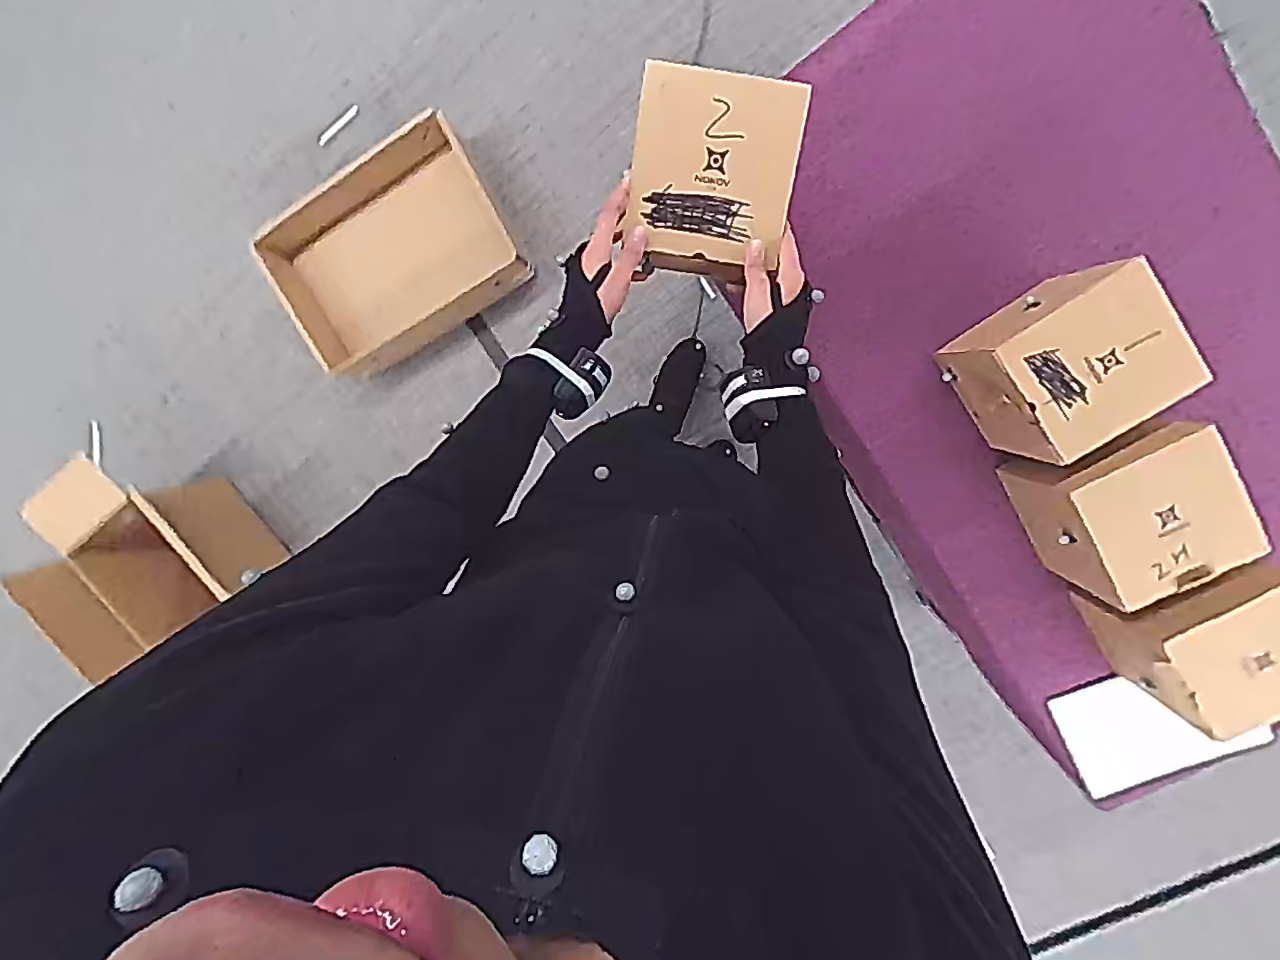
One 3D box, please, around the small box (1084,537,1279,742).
[{"bbox_3d":[0.753,0.203,0.728,0.179,0.176,0.168,-32,97,11],"label":"small box"}]
